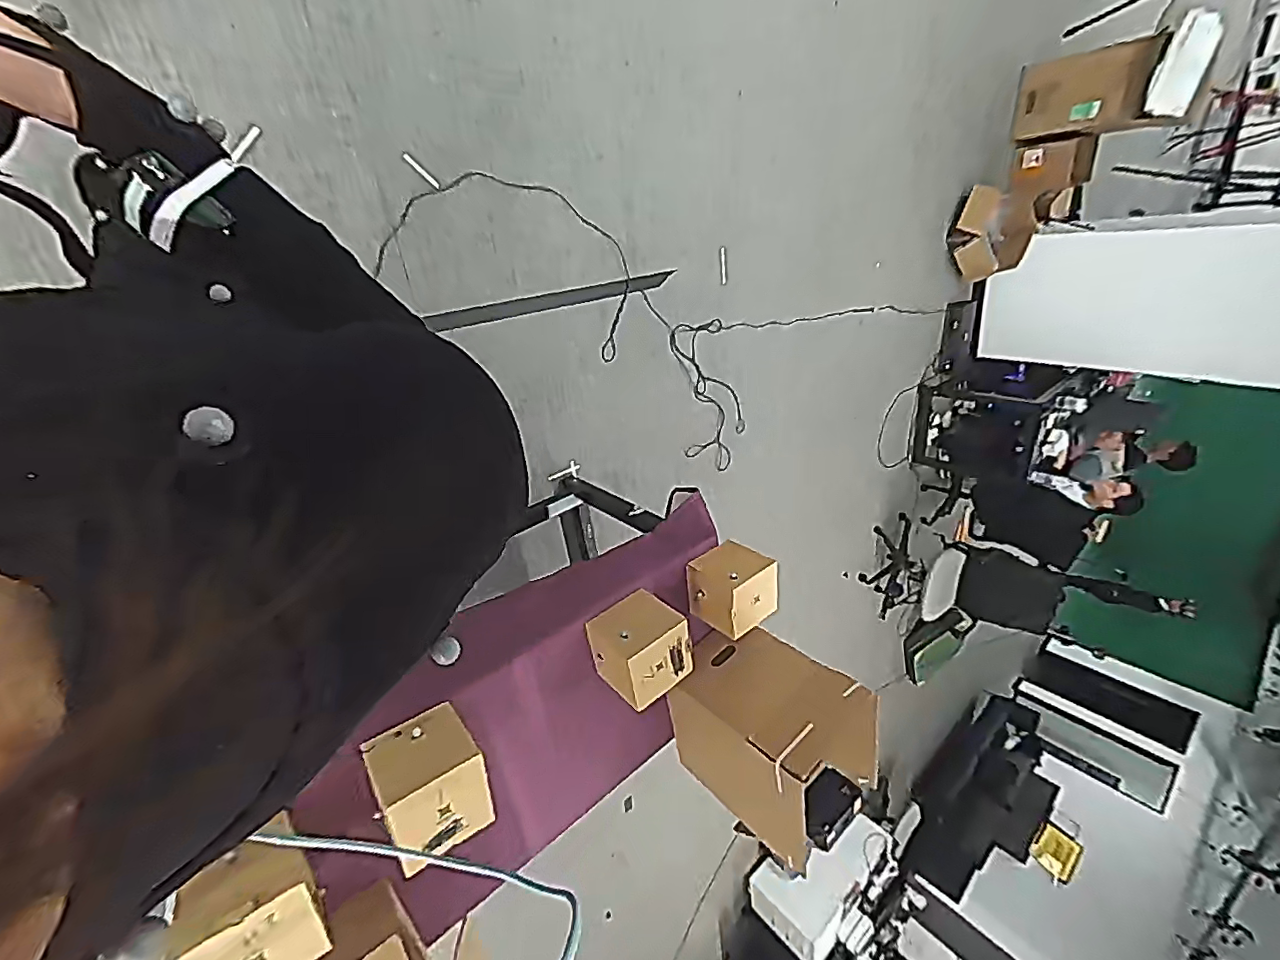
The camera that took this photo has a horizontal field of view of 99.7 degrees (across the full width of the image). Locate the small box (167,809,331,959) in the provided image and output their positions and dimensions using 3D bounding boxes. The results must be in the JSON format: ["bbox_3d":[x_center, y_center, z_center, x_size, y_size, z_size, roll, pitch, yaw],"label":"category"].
[{"bbox_3d":[-0.612,0.674,0.851,0.168,0.176,0.179,-19,118,-36],"label":"small box"}]

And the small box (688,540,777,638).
[{"bbox_3d":[0.250,0.285,1.465,0.179,0.176,0.168,-24,121,-31],"label":"small box"}]
